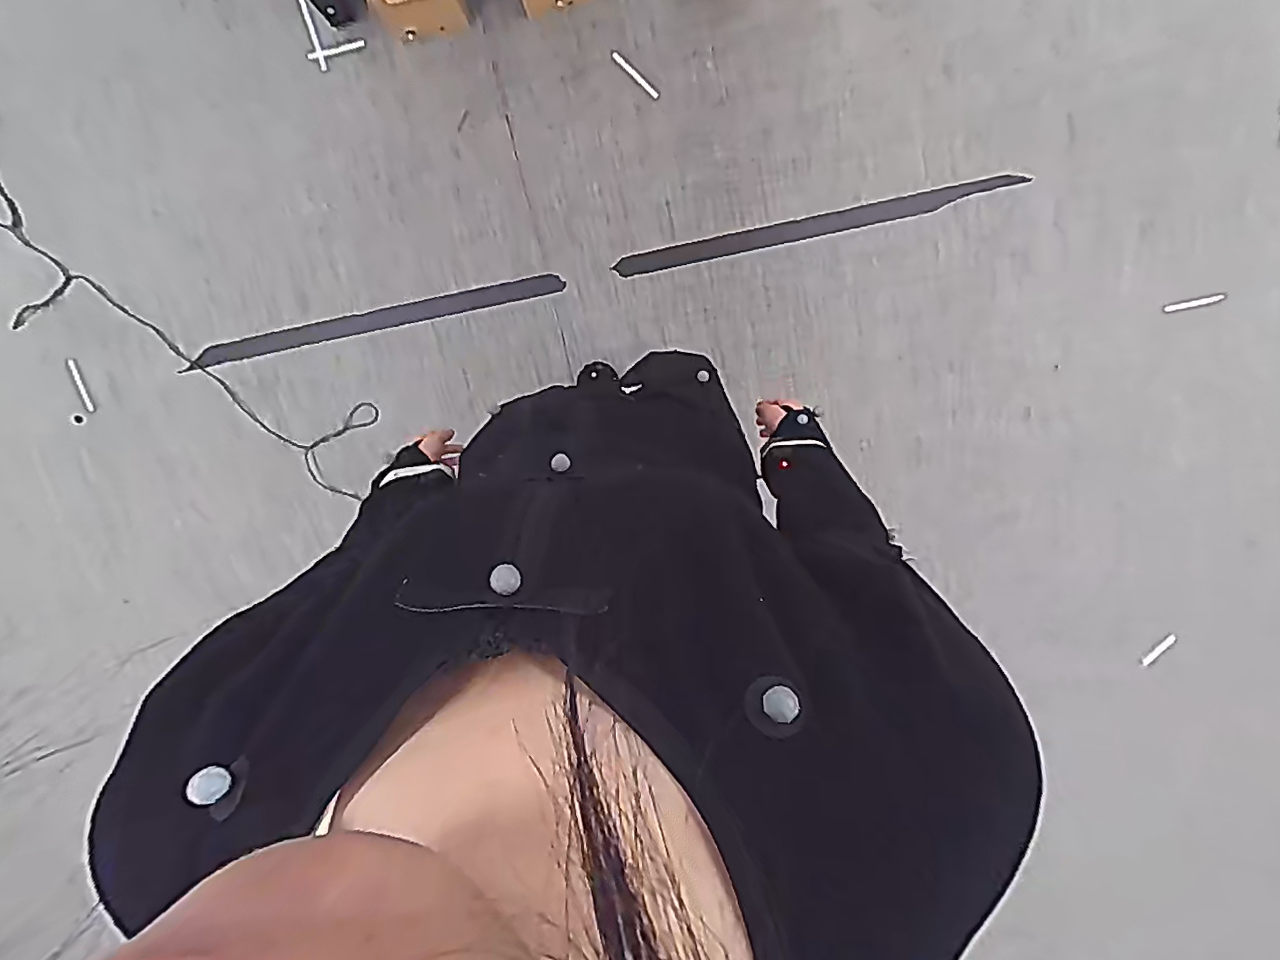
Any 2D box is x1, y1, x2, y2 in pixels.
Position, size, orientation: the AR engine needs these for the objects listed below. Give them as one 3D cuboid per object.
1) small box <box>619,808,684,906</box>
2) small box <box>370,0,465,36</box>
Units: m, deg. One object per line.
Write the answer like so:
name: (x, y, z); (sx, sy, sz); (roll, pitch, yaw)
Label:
small box: (0.036, 1.172, 1.690); (0.168, 0.176, 0.179); (-13, 104, 2)
small box: (-0.493, -1.098, 1.157); (0.168, 0.176, 0.179); (-11, 102, 1)
